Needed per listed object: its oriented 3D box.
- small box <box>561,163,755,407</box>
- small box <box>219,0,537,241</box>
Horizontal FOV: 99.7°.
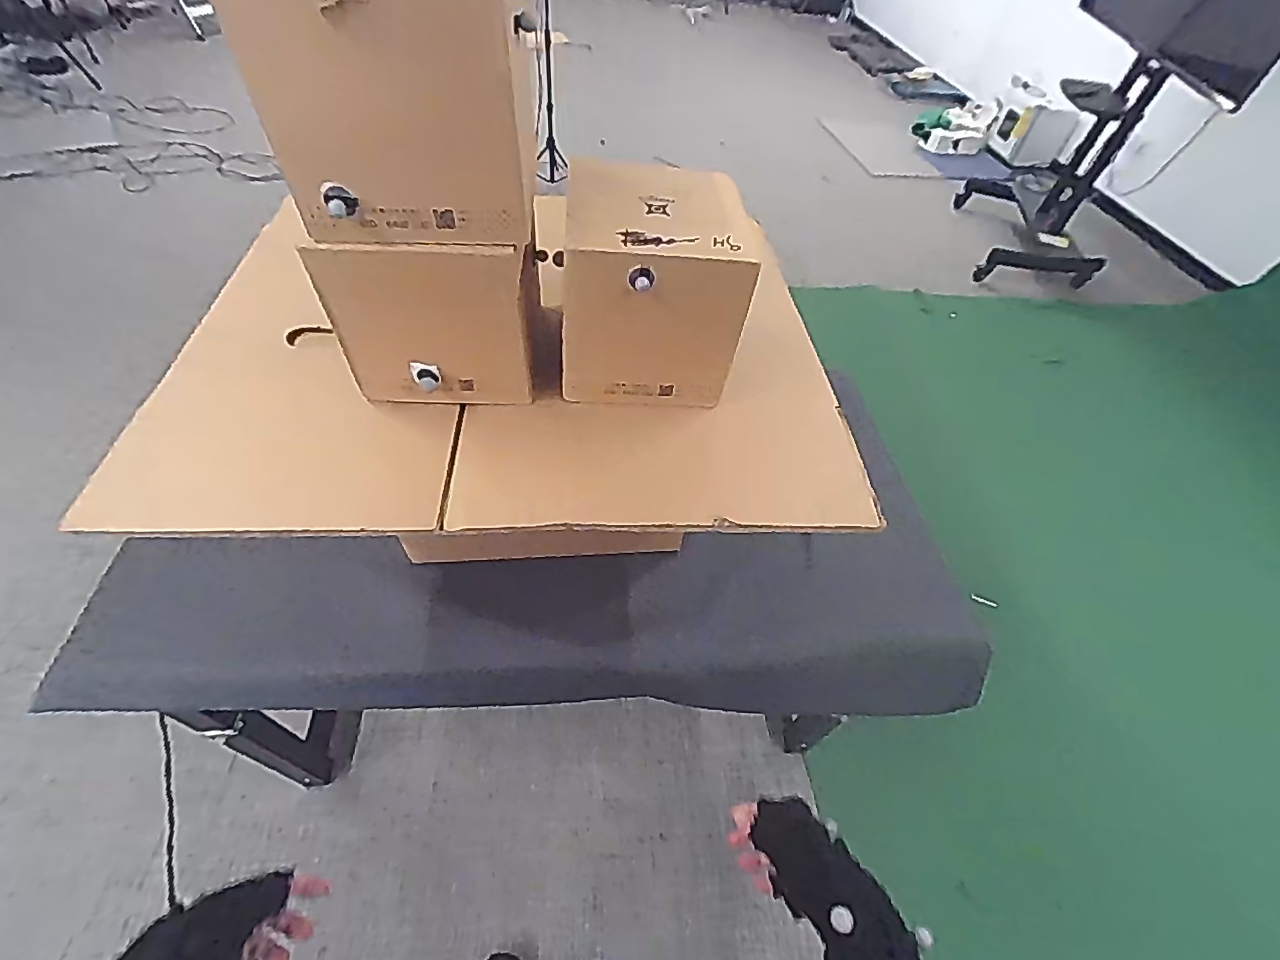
[{"bbox_3d":[0.005,-0.200,0.565,0.168,0.176,0.179,2,50,-7],"label":"small box"},{"bbox_3d":[-0.172,-0.305,0.422,0.168,0.176,0.179,-1,50,-6],"label":"small box"}]
